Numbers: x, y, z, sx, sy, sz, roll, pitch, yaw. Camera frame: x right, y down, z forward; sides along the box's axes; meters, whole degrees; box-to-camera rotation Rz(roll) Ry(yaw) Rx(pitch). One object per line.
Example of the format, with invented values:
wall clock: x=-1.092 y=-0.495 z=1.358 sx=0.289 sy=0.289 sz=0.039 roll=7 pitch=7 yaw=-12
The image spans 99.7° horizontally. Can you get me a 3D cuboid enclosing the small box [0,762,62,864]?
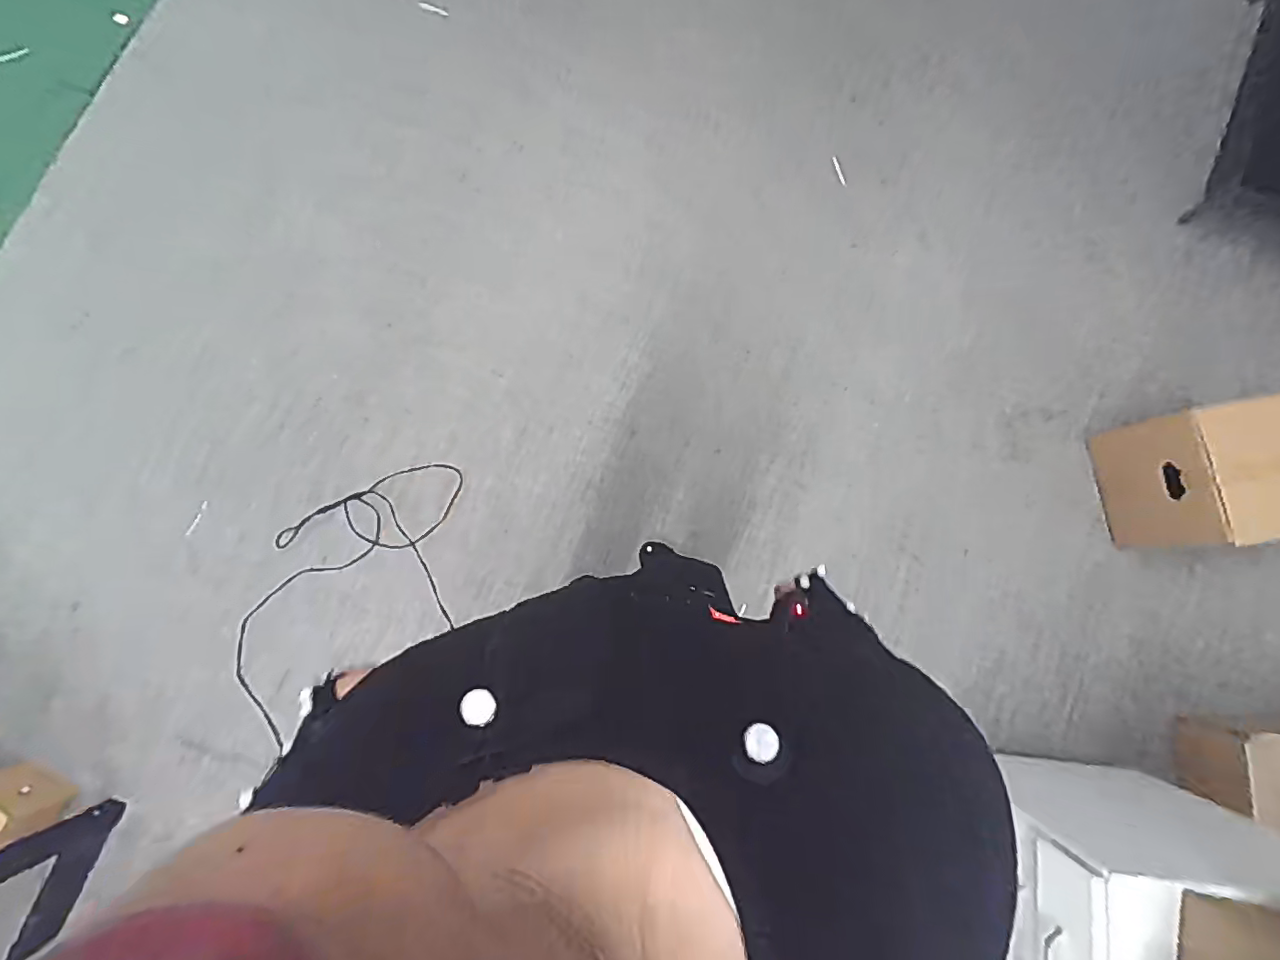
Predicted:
small box: x=-1.626 y=0.845 z=1.349 sx=0.168 sy=0.176 sz=0.179 roll=27 pitch=84 yaw=4
